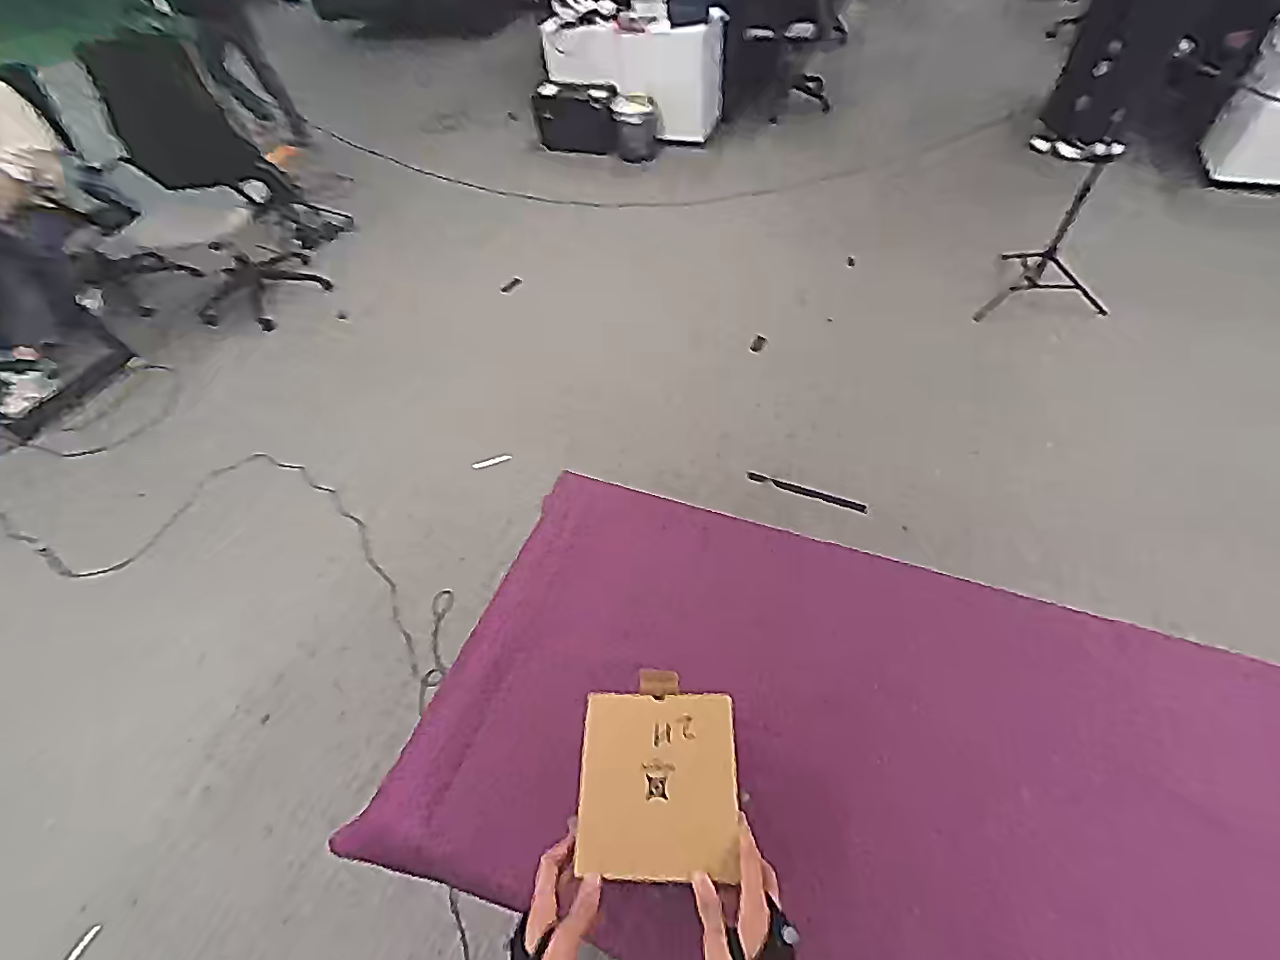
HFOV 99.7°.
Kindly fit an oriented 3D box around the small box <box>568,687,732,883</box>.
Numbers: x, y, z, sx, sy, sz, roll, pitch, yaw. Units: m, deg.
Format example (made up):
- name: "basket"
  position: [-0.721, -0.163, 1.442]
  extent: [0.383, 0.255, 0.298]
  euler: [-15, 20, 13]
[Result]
- name: "small box"
  position: [0.021, 0.358, 0.636]
  extent: [0.168, 0.176, 0.179]
  euler: [0, 54, 5]
